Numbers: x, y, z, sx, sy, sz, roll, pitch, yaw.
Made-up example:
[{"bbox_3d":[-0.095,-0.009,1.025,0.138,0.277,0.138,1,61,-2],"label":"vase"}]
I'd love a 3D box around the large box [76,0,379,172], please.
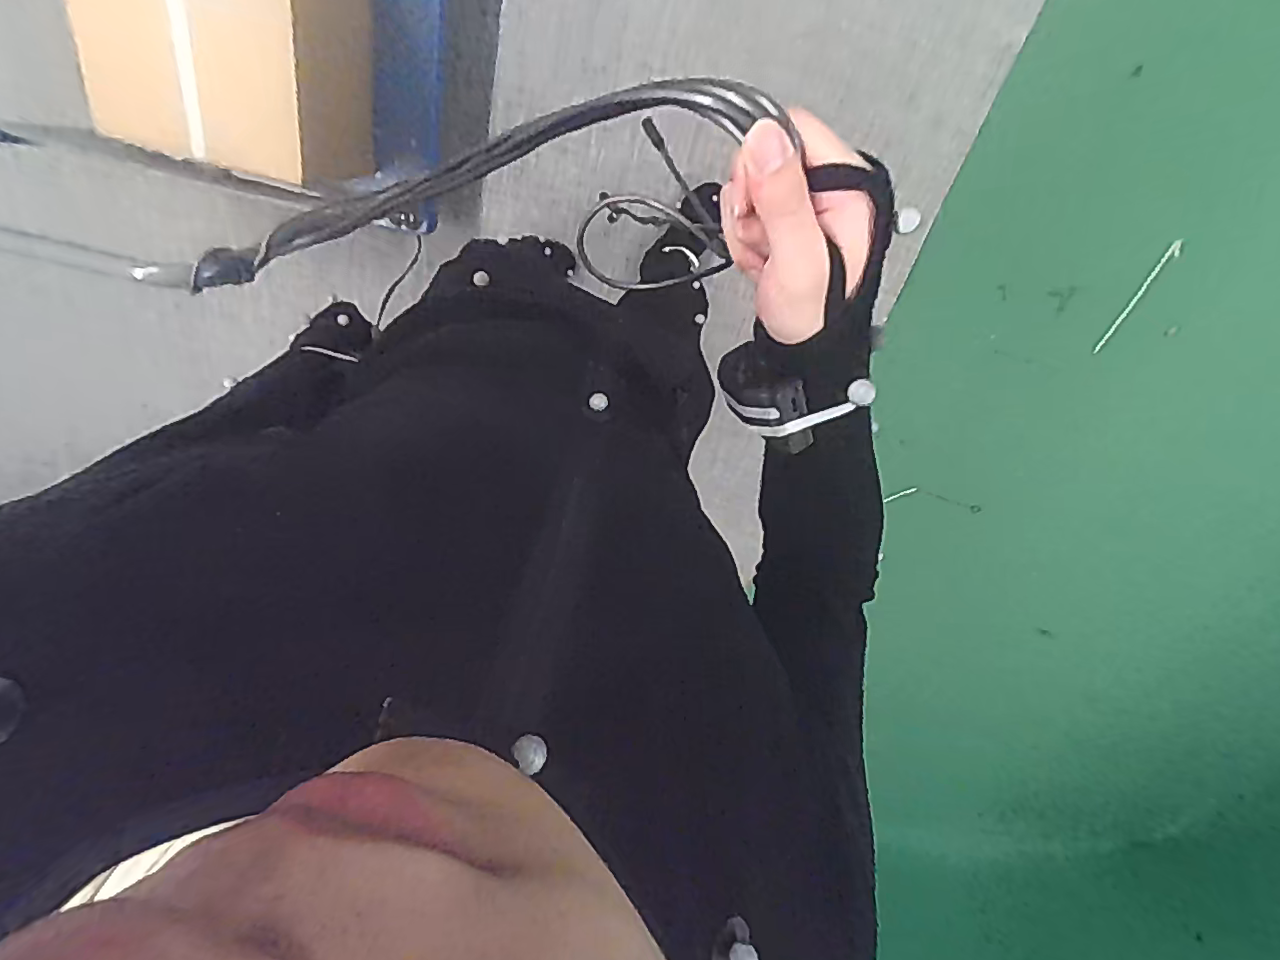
[{"bbox_3d":[-0.654,-0.775,0.899,0.320,0.320,0.408,11,121,-8],"label":"large box"}]
